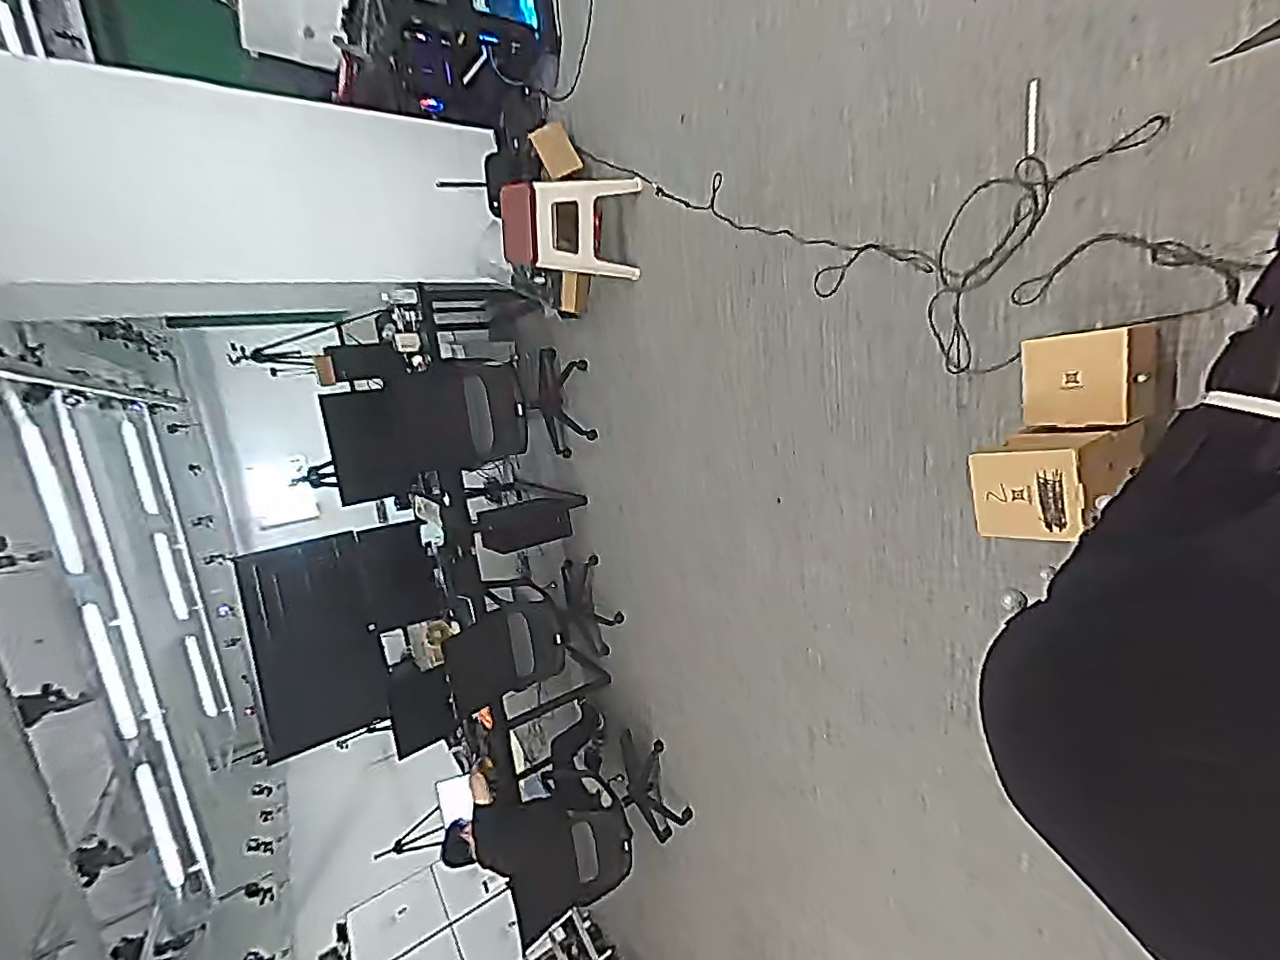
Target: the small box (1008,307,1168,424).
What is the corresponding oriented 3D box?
[{"bbox_3d":[0.831,-0.211,1.010,0.179,0.176,0.168,35,117,34],"label":"small box"}]
